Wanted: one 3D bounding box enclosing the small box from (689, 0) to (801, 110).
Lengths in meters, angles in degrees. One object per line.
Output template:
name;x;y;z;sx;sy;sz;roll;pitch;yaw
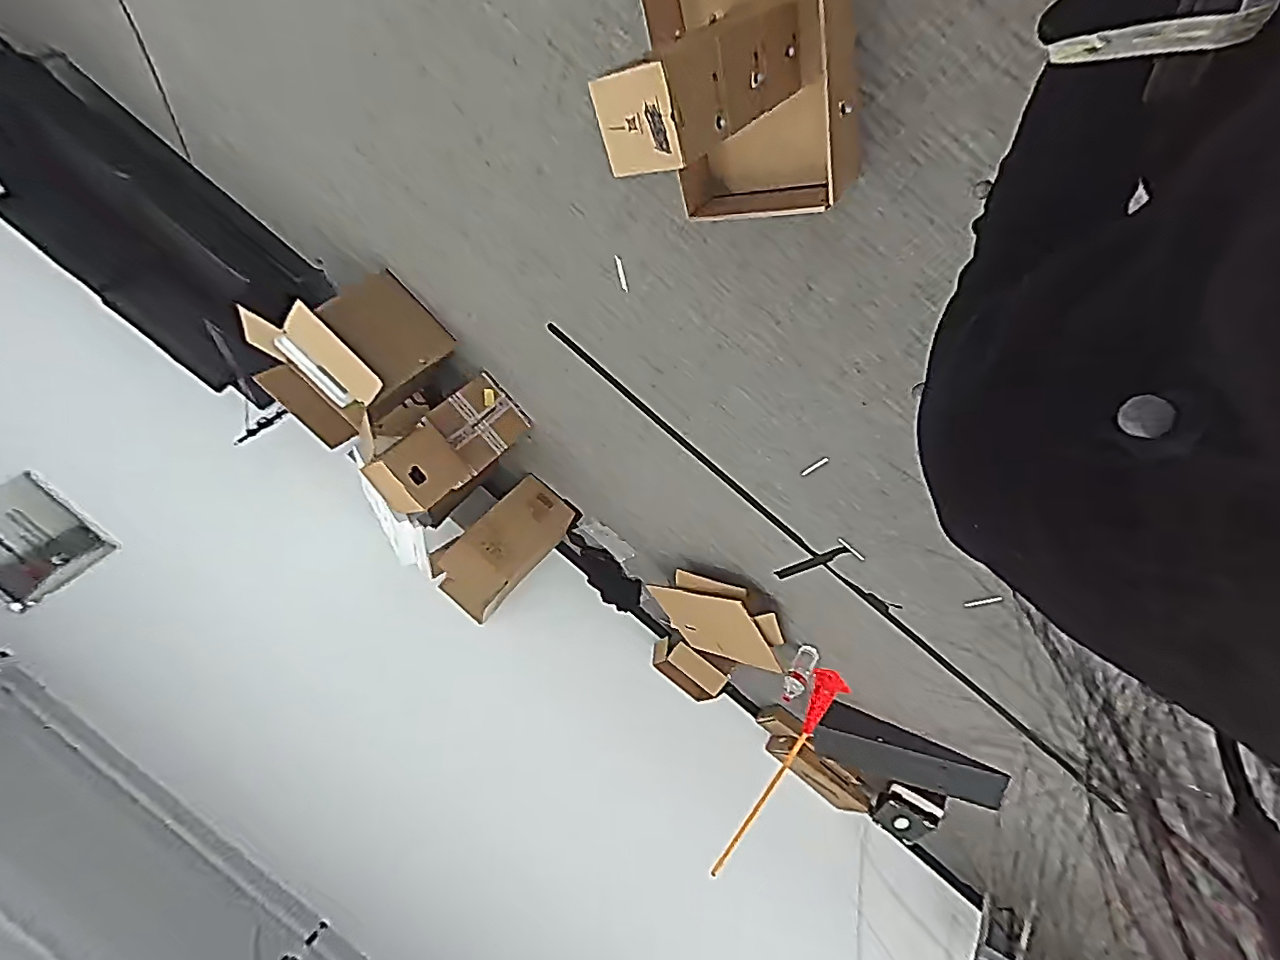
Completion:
small box;0.231;-0.914;1.171;0.179;0.176;0.168;18;143;34

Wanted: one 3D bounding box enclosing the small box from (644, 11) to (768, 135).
small box;0.138;-0.809;1.090;0.179;0.176;0.168;16;143;34

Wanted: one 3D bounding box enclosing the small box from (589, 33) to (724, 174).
small box;0.042;-0.701;1.012;0.179;0.176;0.168;17;143;37
